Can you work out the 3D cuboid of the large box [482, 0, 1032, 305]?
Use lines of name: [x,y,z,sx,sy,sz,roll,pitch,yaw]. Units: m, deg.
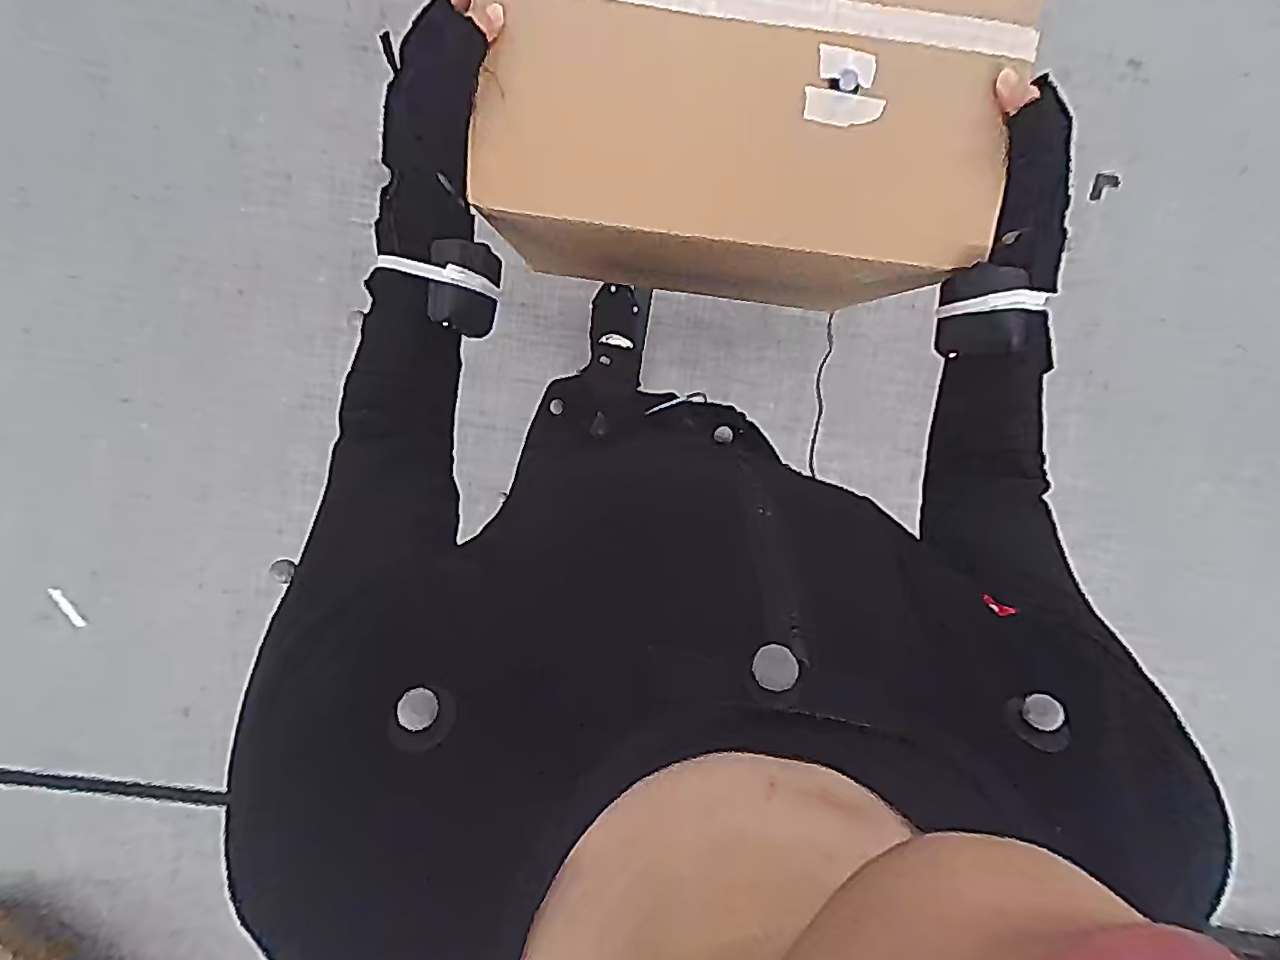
large box: [0.081,-0.370,0.541,0.408,0.320,0.320,6,103,-4]
